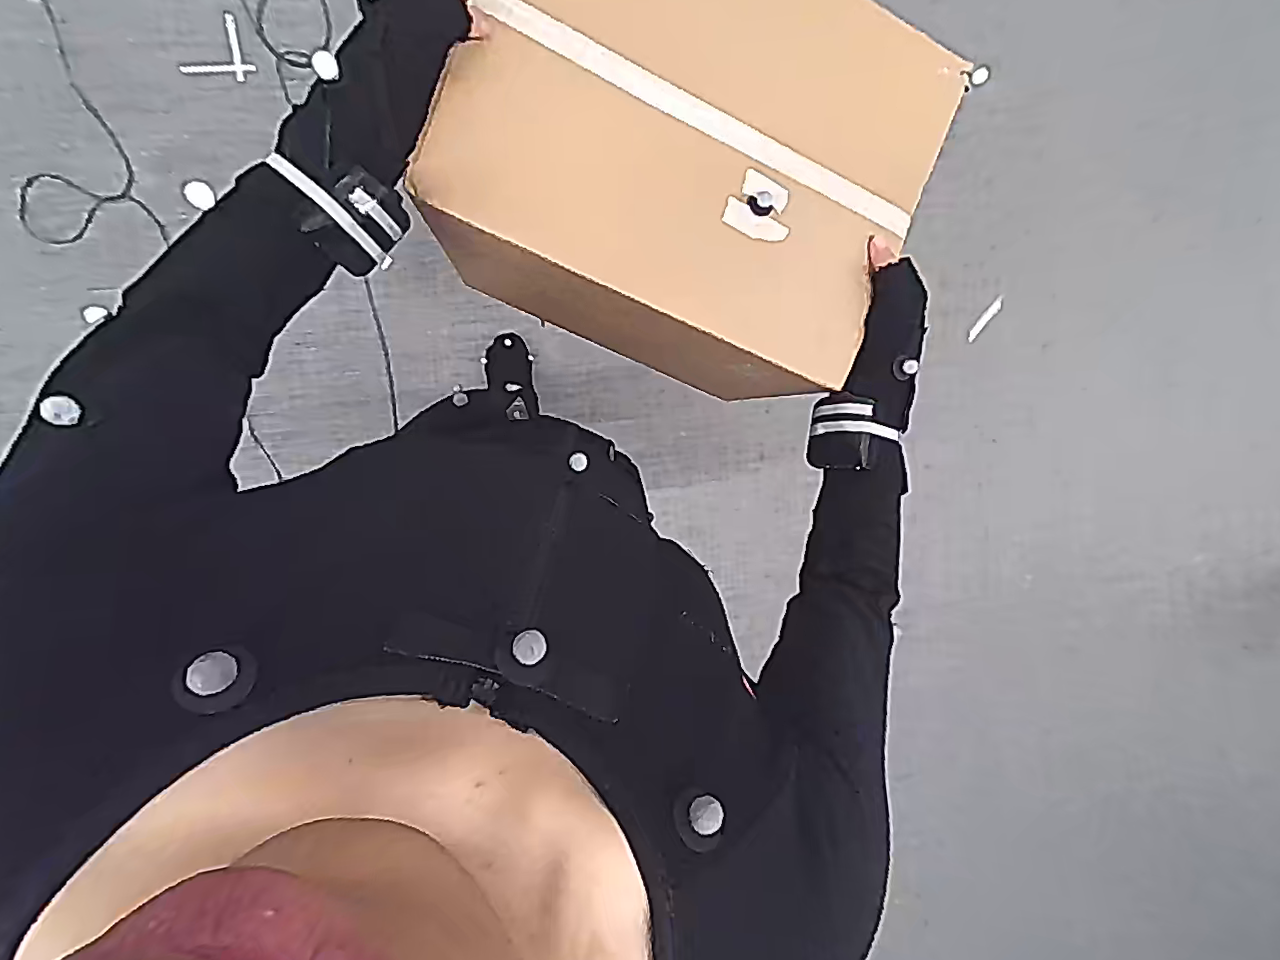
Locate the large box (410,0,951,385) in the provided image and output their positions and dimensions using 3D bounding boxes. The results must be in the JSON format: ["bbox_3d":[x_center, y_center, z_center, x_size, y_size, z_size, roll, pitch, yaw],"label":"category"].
[{"bbox_3d":[0.023,-0.327,0.603,0.408,0.320,0.320,21,93,-12],"label":"large box"}]
